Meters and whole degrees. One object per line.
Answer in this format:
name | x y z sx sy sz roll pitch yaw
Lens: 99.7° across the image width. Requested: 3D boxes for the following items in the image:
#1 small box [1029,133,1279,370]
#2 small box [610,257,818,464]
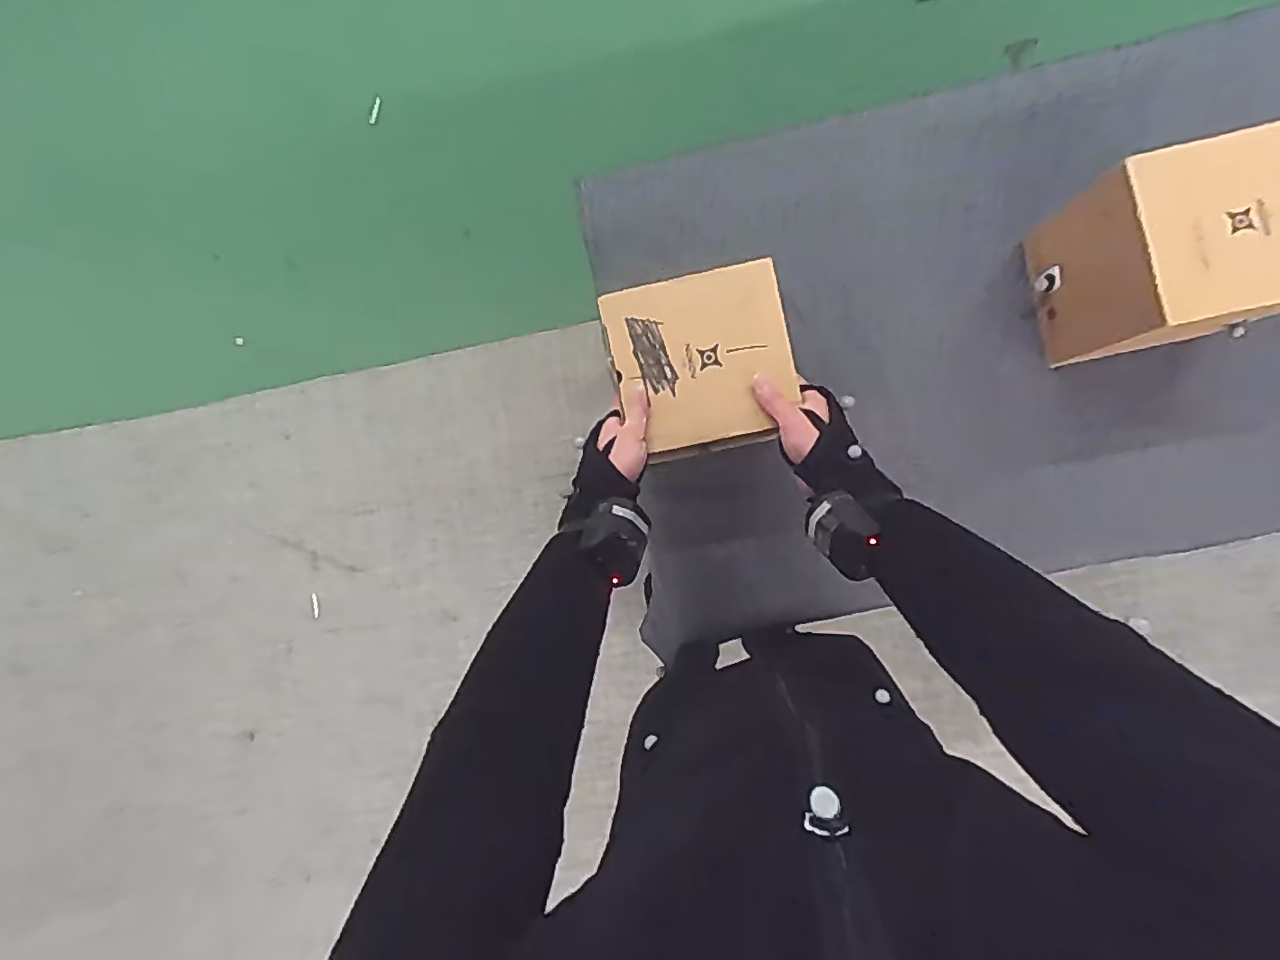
small box | 0.566 -0.227 0.572 0.179 0.176 0.168 -12 87 4
small box | 0.074 -0.115 0.594 0.179 0.176 0.168 -11 88 2
